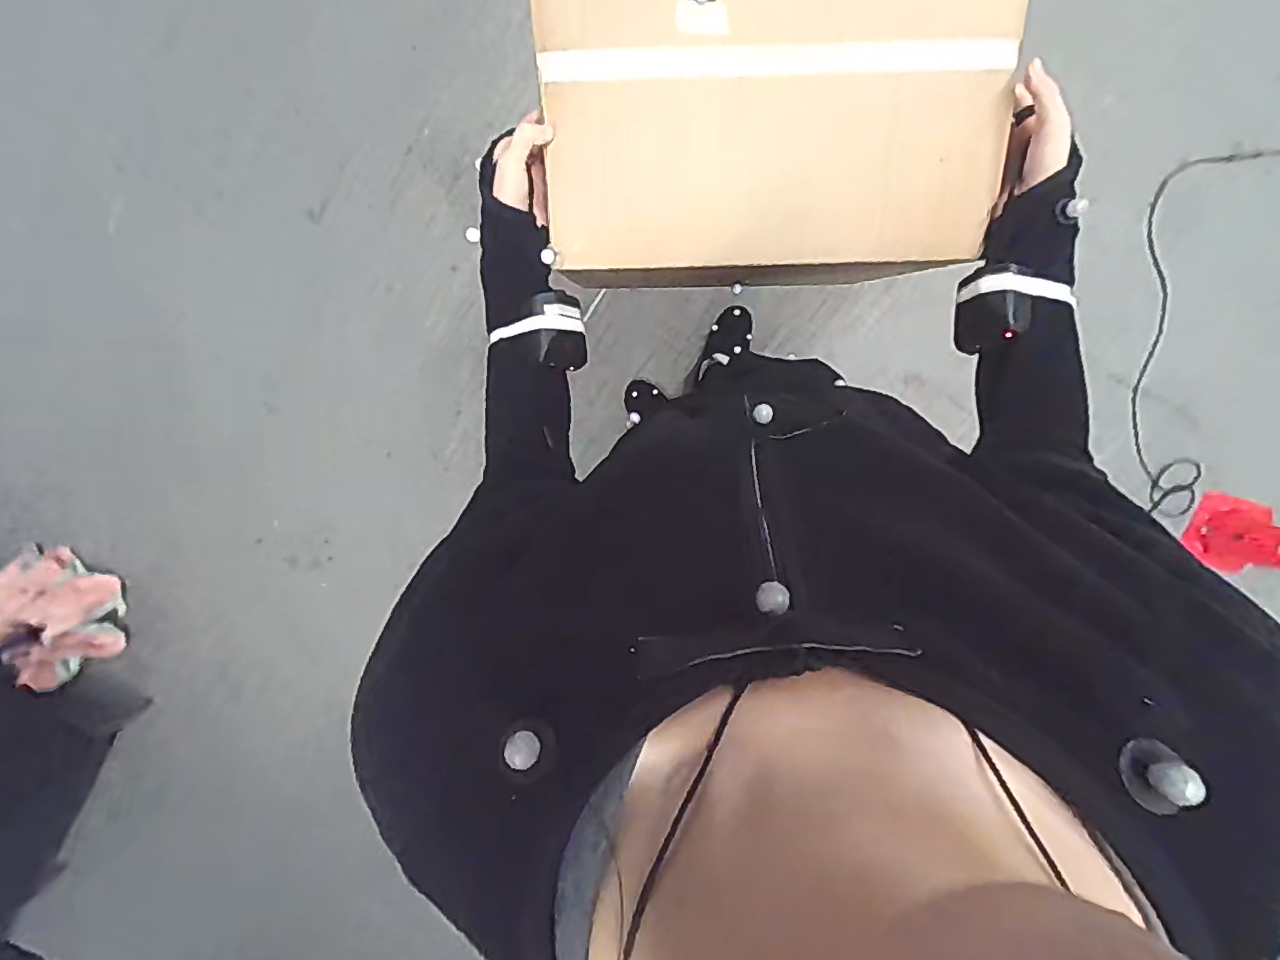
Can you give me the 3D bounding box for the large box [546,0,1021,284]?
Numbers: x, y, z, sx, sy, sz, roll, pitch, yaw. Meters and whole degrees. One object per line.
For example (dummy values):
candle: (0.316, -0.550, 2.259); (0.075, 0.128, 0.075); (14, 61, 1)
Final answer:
large box: (0.122, -0.396, 0.609); (0.408, 0.320, 0.320); (-1, 106, 0)
